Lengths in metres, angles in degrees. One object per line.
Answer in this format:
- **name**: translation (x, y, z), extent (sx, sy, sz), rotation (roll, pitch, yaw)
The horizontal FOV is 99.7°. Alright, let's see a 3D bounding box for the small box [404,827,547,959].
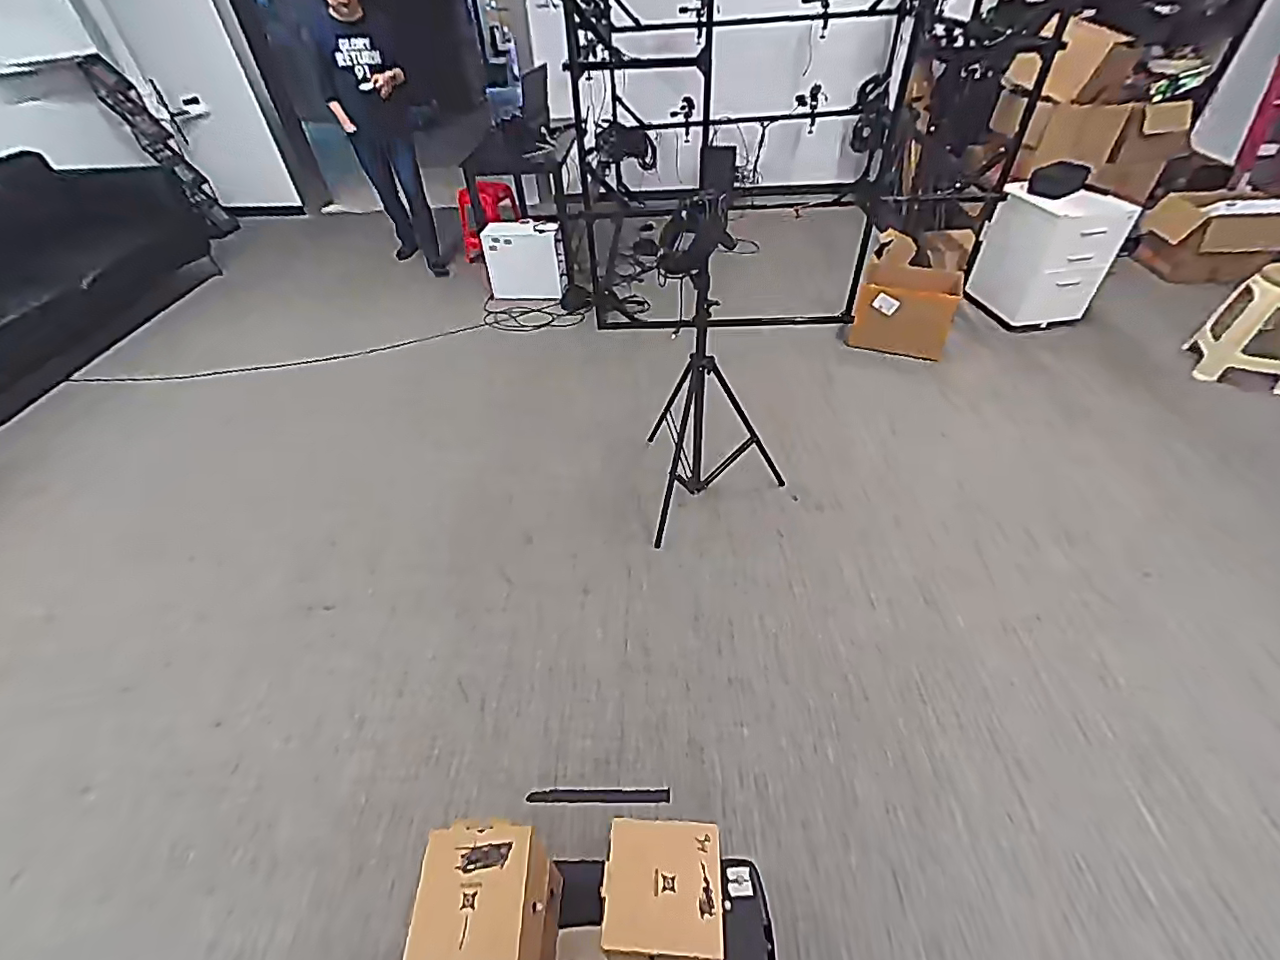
- **small box**: translation (-0.247, 0.677, 0.859), extent (0.168, 0.176, 0.179), rotation (-3, 43, 0)

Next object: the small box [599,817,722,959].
- **small box**: translation (0.039, 0.660, 0.862), extent (0.179, 0.176, 0.168), rotation (0, 43, 5)

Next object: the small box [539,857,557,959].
- **small box**: translation (-0.238, 0.800, 0.967), extent (0.168, 0.176, 0.179), rotation (-2, 43, 2)
